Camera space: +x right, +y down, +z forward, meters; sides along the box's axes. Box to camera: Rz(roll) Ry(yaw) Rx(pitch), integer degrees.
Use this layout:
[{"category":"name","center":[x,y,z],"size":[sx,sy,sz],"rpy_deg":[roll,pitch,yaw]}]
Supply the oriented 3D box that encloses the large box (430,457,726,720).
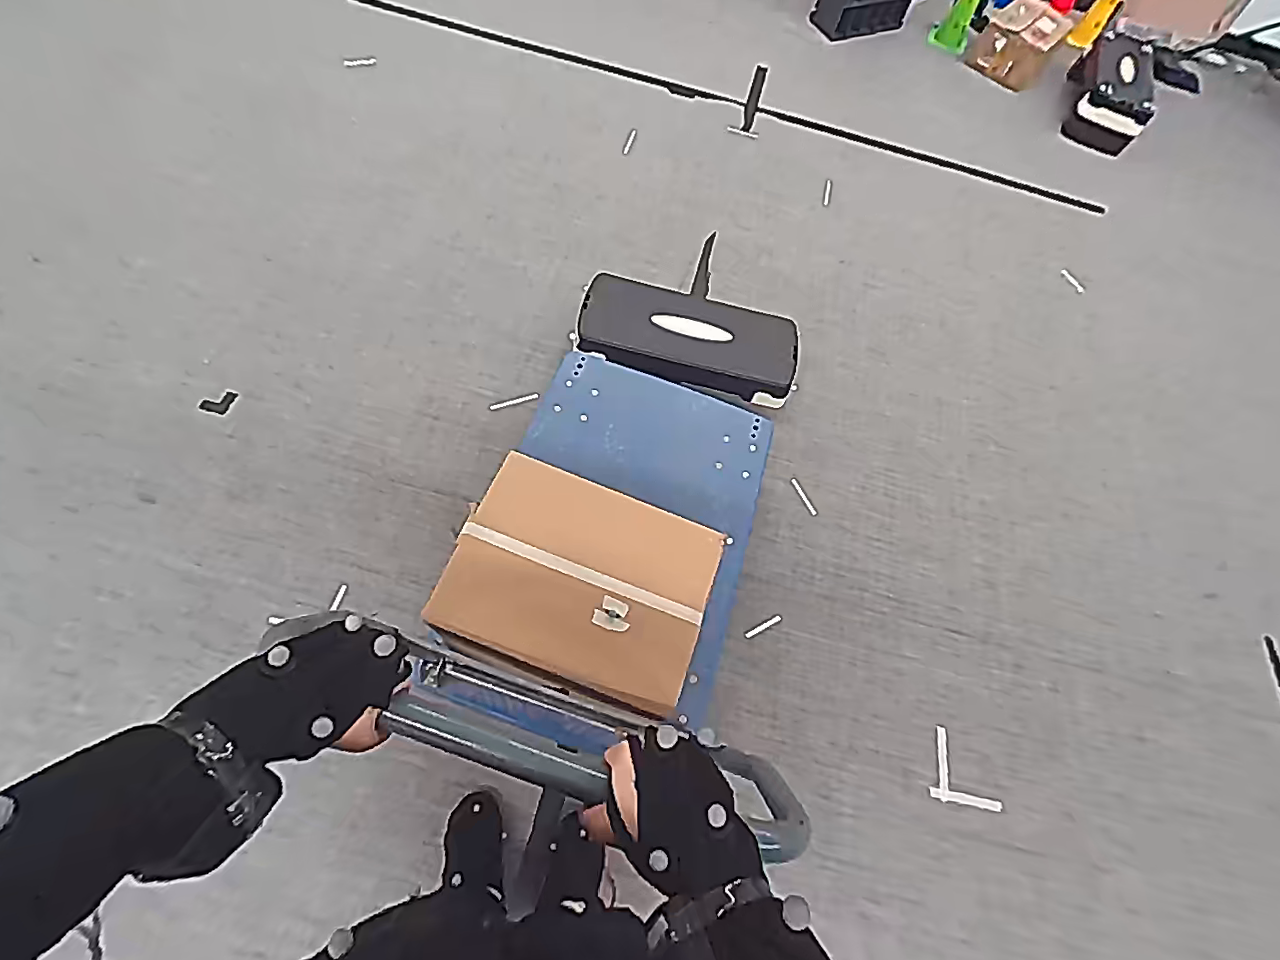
[{"category":"large box","center":[-0.108,0.216,1.001],"size":[0.408,0.320,0.320],"rpy_deg":[22,64,1]}]
